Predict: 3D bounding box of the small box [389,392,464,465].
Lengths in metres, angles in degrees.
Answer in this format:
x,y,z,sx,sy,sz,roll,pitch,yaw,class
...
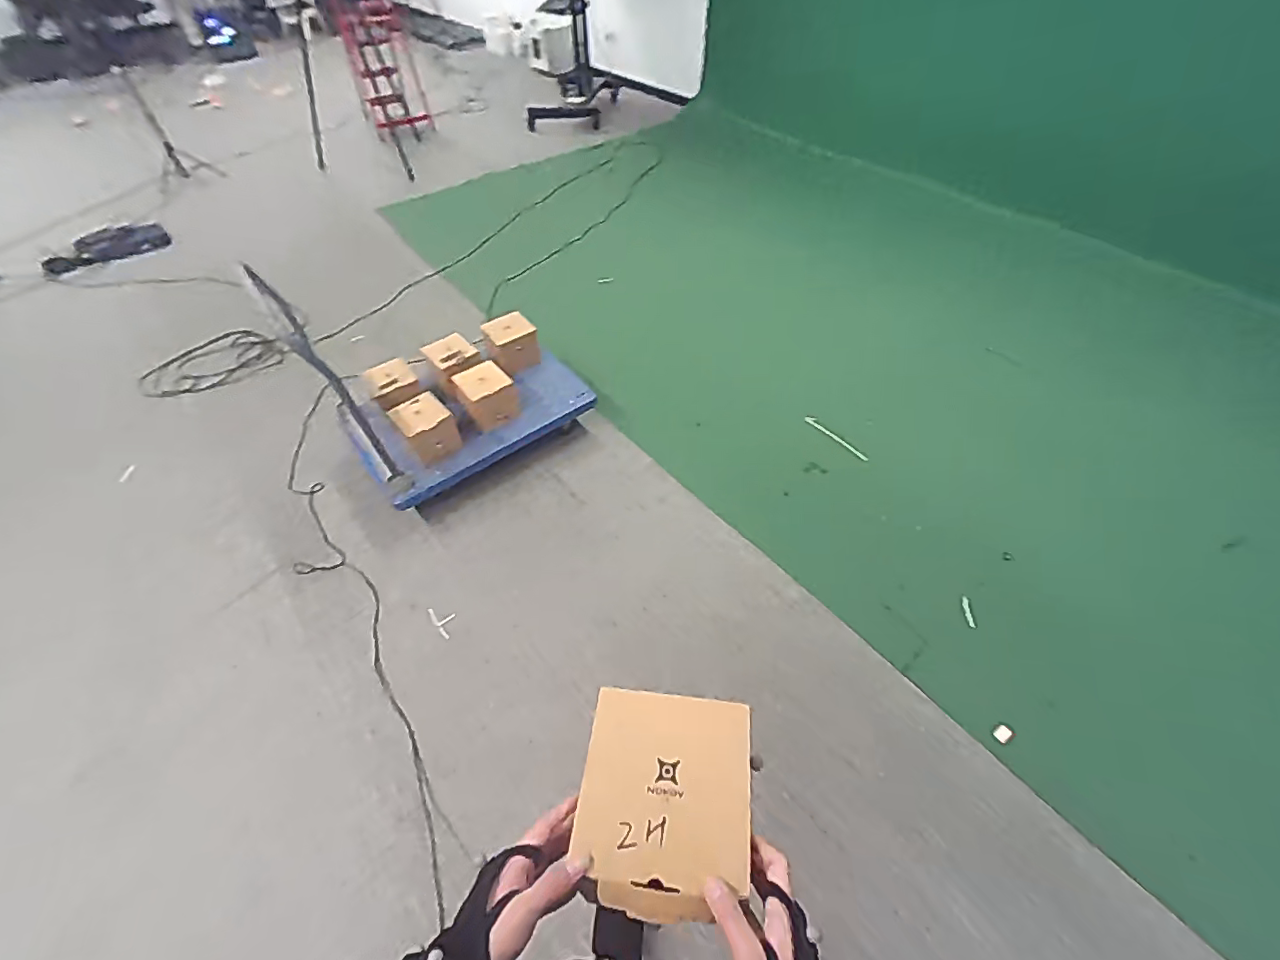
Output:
x,y,z,sx,sy,sz,roll,pitch,yaw,class
-0.759,-0.176,1.937,0.168,0.176,0.179,-34,58,-24,small box

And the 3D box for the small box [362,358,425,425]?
x,y,z,sx,sy,sz,roll,pitch,yaw,class
-0.925,-0.331,2.071,0.168,0.176,0.179,-30,55,-22,small box

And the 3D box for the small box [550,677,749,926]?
x,y,z,sx,sy,sz,roll,pitch,yaw,class
0.021,0.346,0.586,0.168,0.176,0.179,7,47,13,small box

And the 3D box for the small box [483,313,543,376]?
x,y,z,sx,sy,sz,roll,pitch,yaw,class
-0.525,-0.561,2.256,0.179,0.176,0.168,-30,57,-21,small box
